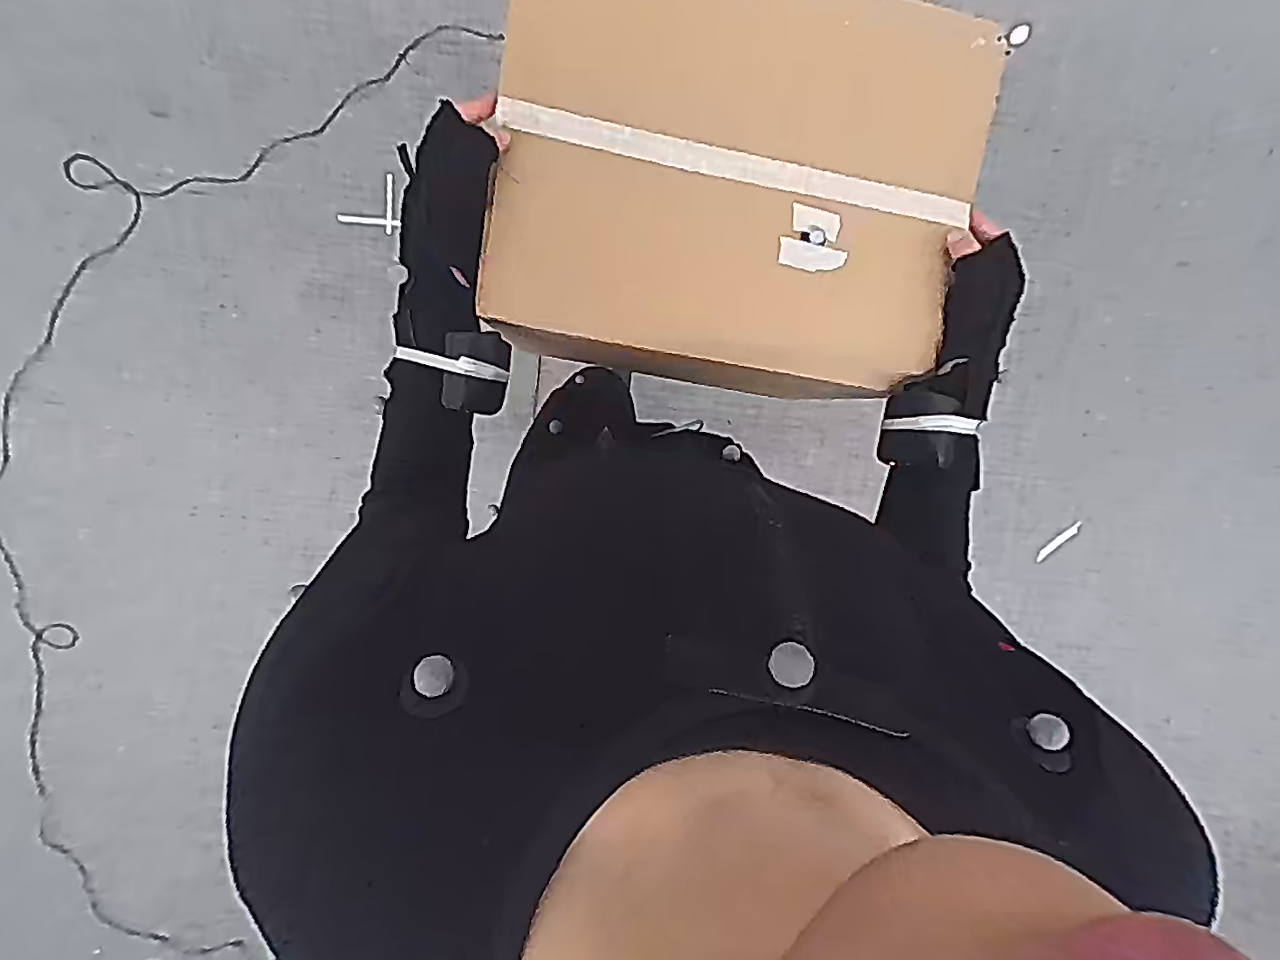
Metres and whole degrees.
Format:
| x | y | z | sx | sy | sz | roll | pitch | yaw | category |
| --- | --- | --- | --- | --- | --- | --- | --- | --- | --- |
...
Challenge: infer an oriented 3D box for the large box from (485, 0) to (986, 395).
| x | y | z | sx | sy | sz | roll | pitch | yaw | category |
| --- | --- | --- | --- | --- | --- | --- | --- | --- | --- |
| 0.065 | -0.277 | 0.605 | 0.408 | 0.320 | 0.320 | 8 | 98 | -9 | large box |
